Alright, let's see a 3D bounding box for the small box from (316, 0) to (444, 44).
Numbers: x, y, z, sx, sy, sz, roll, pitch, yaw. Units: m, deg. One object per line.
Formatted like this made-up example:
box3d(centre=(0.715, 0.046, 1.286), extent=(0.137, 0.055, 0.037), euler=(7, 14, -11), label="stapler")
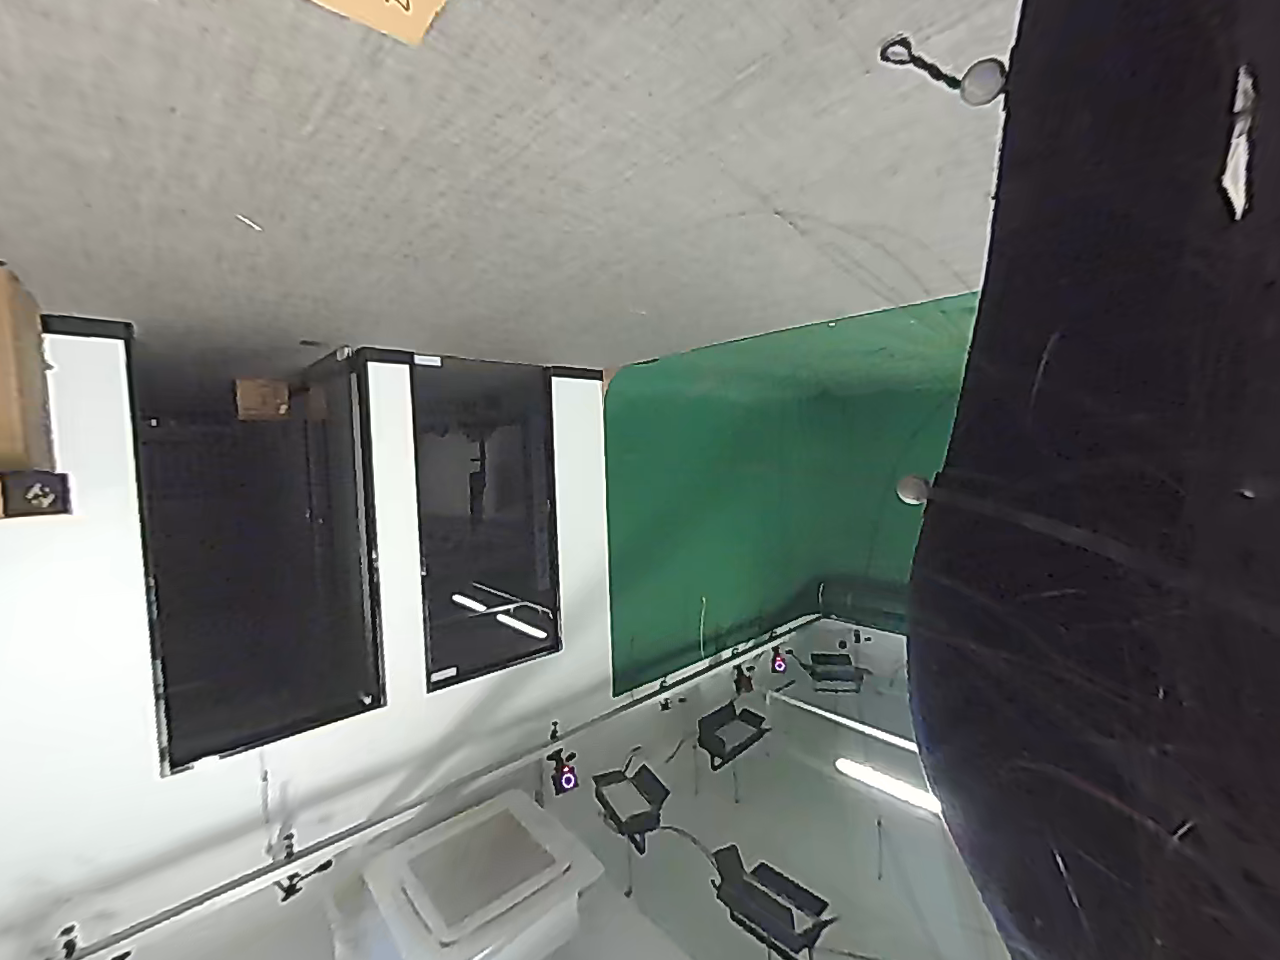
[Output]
box3d(centre=(-0.257, -0.551, 0.471), extent=(0.179, 0.176, 0.168), euler=(-5, -175, -42), label="small box")
